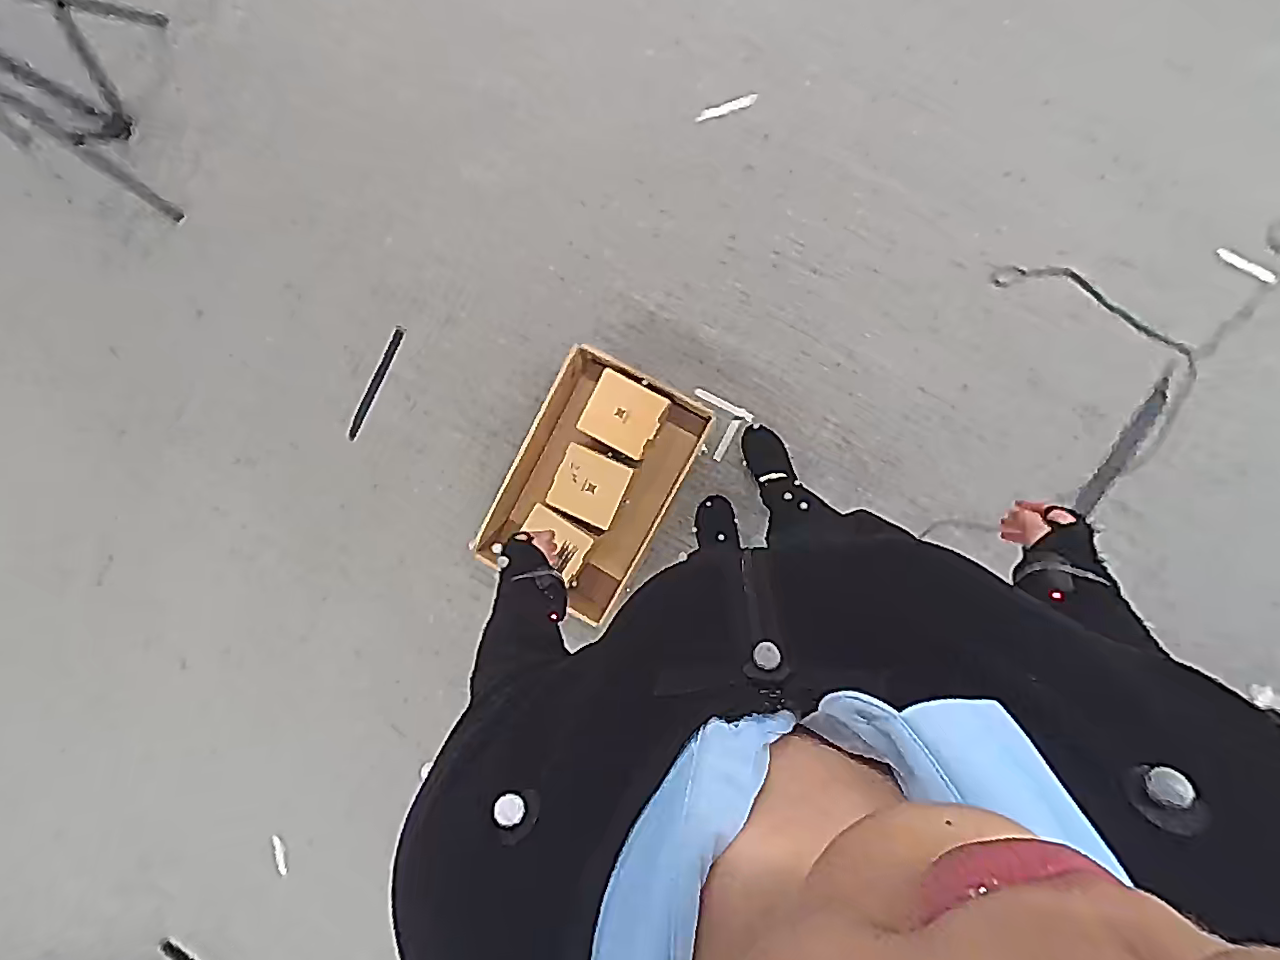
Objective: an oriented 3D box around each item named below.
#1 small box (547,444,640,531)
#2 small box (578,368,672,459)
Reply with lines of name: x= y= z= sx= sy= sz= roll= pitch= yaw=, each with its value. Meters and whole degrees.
small box: x=-0.111 y=0.014 z=1.404 sx=0.179 sy=0.176 sz=0.168 roll=24 pitch=94 yaw=6
small box: x=-0.032 y=-0.165 z=1.386 sx=0.179 sy=0.176 sz=0.168 roll=28 pitch=98 yaw=4
